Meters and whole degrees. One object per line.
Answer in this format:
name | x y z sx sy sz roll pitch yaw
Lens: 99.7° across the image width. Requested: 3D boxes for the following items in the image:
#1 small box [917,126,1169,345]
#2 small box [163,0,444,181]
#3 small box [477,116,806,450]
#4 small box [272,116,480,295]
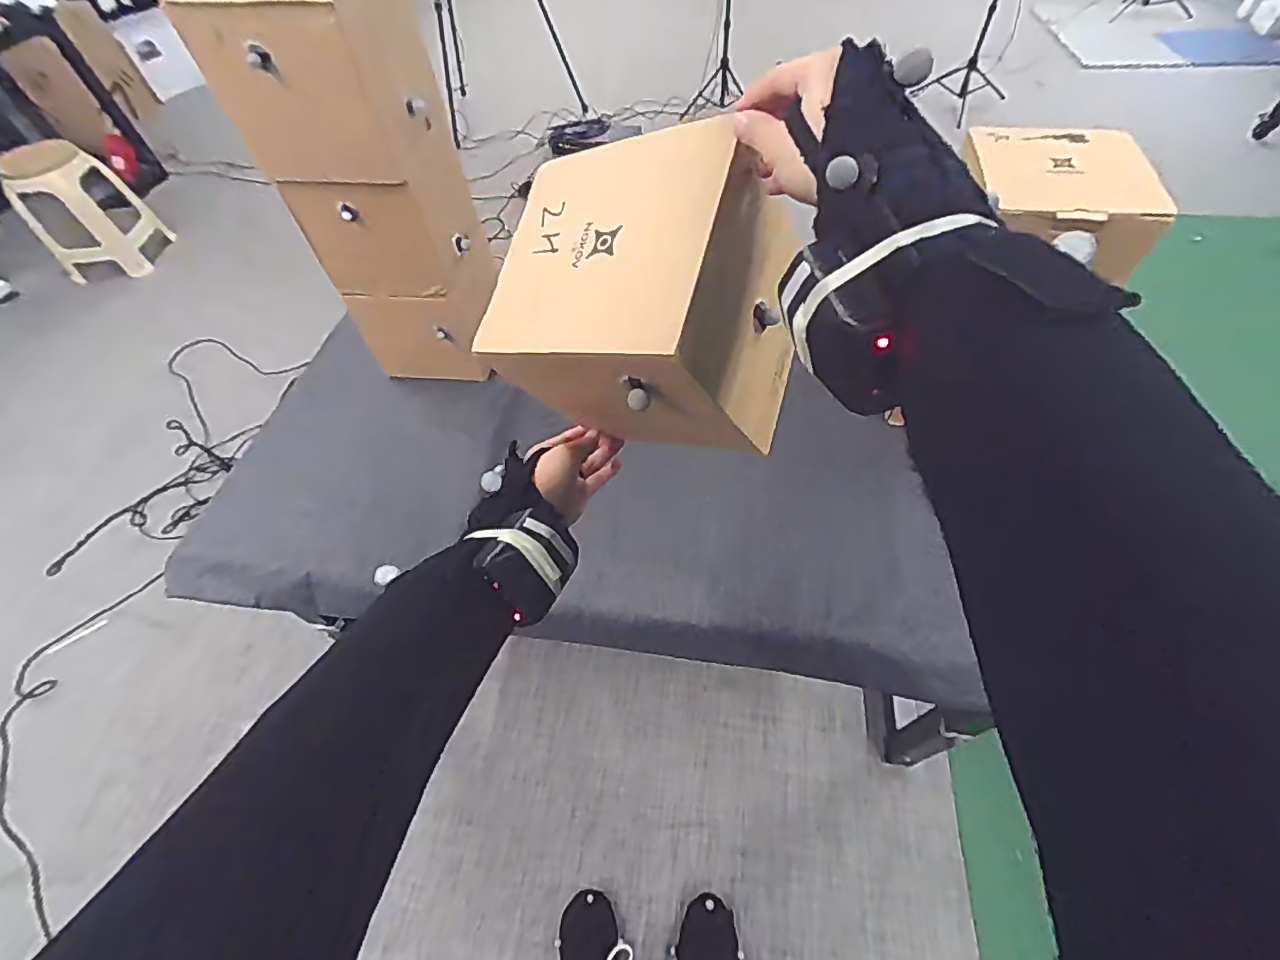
small box | 0.441 -0.279 0.630 0.168 0.176 0.179 8 58 9
small box | -0.351 -0.460 0.607 0.179 0.176 0.168 5 58 5
small box | 0.014 -0.131 0.423 0.179 0.176 0.168 9 77 34
small box | -0.345 -0.376 0.748 0.179 0.176 0.168 3 58 4
